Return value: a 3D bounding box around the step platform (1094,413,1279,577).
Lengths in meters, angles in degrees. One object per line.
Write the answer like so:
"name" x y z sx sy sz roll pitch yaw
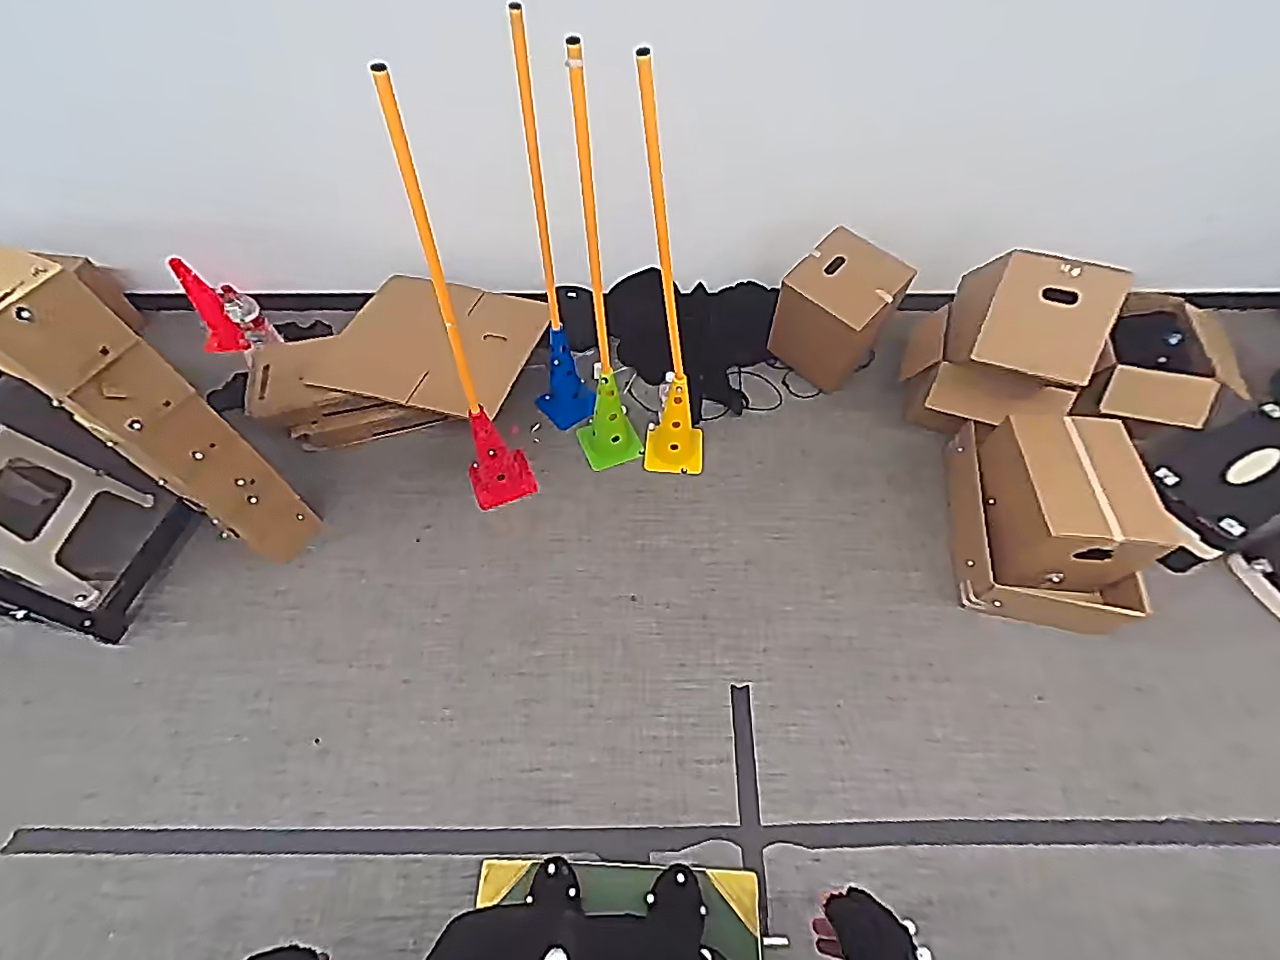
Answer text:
"step platform" 1.841 0.034 1.733 0.684 0.204 0.286 -24 60 -15
